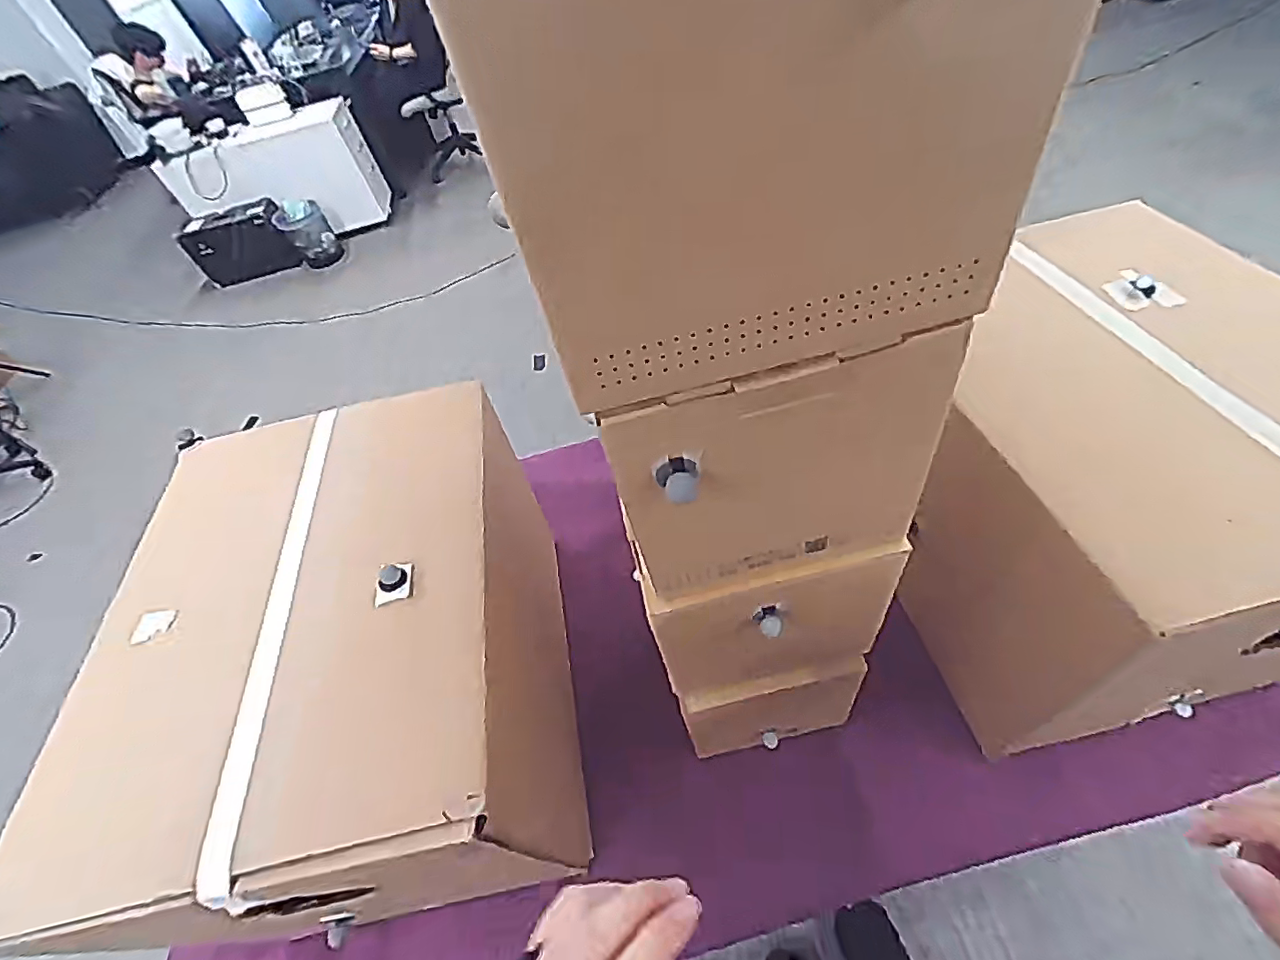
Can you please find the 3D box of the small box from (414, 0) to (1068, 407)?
[{"bbox_3d":[0.028,-0.156,0.216,0.179,0.176,0.168,-14,48,2],"label":"small box"}]

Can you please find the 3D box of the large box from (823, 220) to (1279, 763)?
[{"bbox_3d":[0.423,0.005,0.552,0.320,0.320,0.408,-15,49,0],"label":"large box"}]
